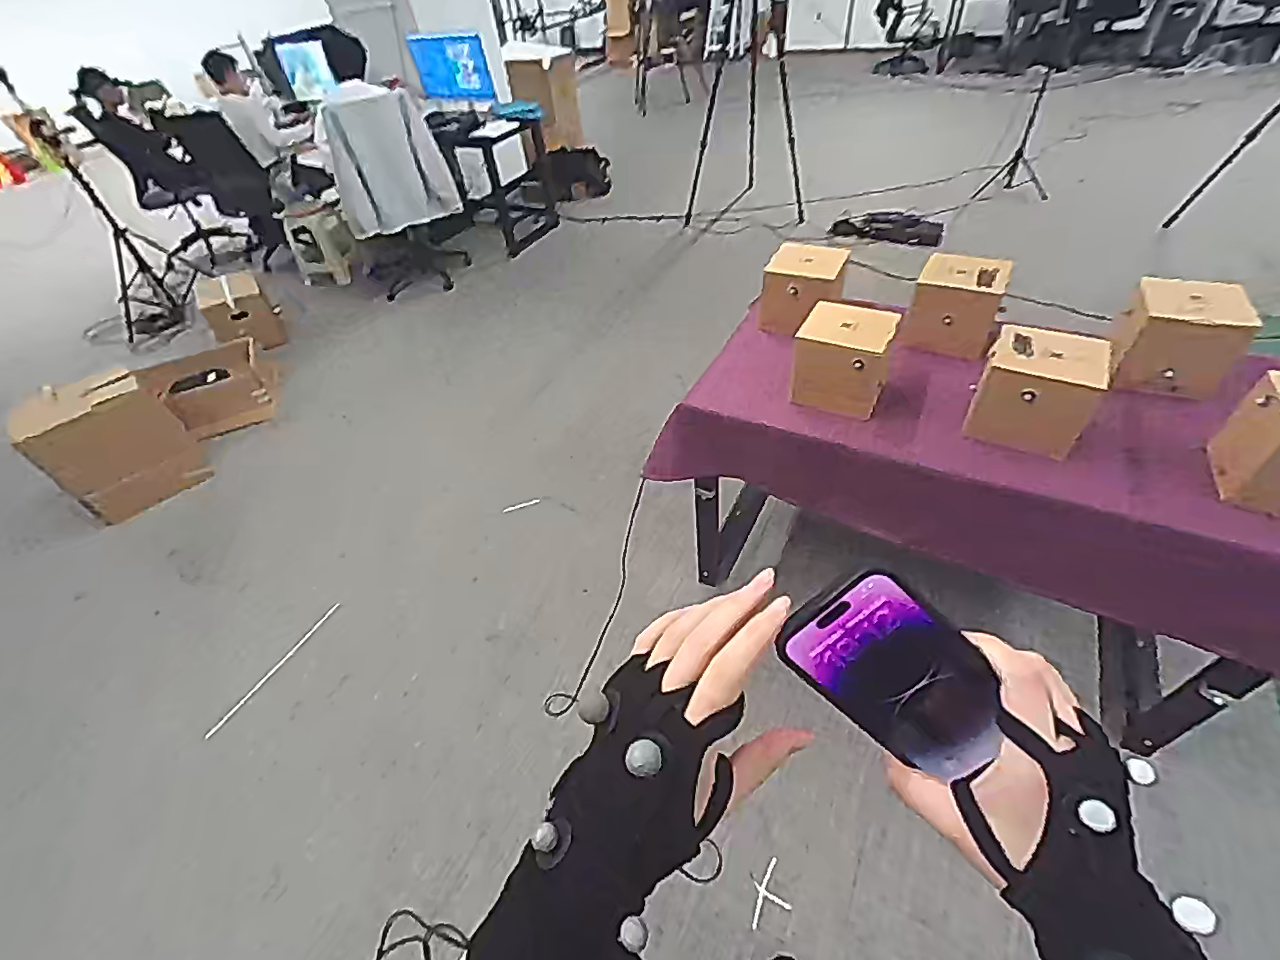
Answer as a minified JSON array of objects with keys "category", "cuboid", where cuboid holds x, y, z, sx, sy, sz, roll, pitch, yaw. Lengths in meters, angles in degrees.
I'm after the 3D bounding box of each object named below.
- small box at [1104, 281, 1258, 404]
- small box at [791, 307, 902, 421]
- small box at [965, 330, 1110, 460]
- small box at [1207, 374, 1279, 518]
[{"category":"small box","cuboid":[1.092,-0.284,1.114,0.168,0.176,0.179,15,49,23]},{"category":"small box","cuboid":[0.442,-0.251,1.176,0.179,0.176,0.168,20,50,24]},{"category":"small box","cuboid":[0.756,-0.163,1.040,0.179,0.176,0.168,21,51,25]},{"category":"small box","cuboid":[1.084,-0.041,0.869,0.179,0.176,0.168,17,49,23]}]
